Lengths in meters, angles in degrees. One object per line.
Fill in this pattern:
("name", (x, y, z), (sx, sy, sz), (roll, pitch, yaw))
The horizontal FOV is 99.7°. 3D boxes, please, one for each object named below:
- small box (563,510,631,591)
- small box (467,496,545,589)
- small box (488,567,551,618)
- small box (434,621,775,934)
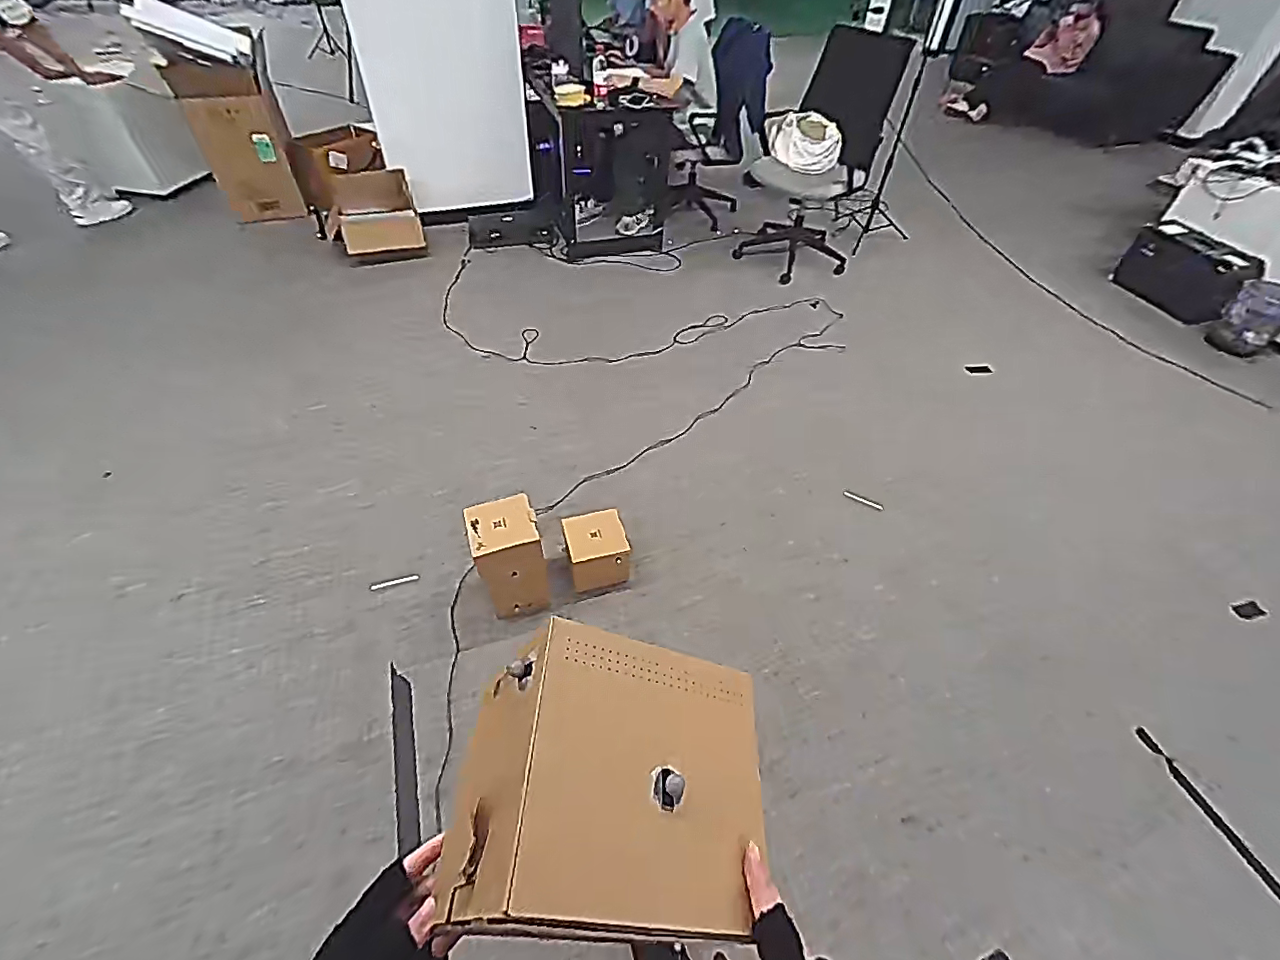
("small box", (-0.132, 0.222, 1.669), (0.179, 0.176, 0.168), (-10, 49, -13))
("small box", (-0.361, 0.173, 1.478), (0.179, 0.176, 0.168), (-13, 50, -14))
("small box", (-0.367, 0.278, 1.603), (0.168, 0.176, 0.179), (-13, 51, -13))
("small box", (-0.027, 0.226, 0.410), (0.179, 0.168, 0.176), (22, 45, -21))
